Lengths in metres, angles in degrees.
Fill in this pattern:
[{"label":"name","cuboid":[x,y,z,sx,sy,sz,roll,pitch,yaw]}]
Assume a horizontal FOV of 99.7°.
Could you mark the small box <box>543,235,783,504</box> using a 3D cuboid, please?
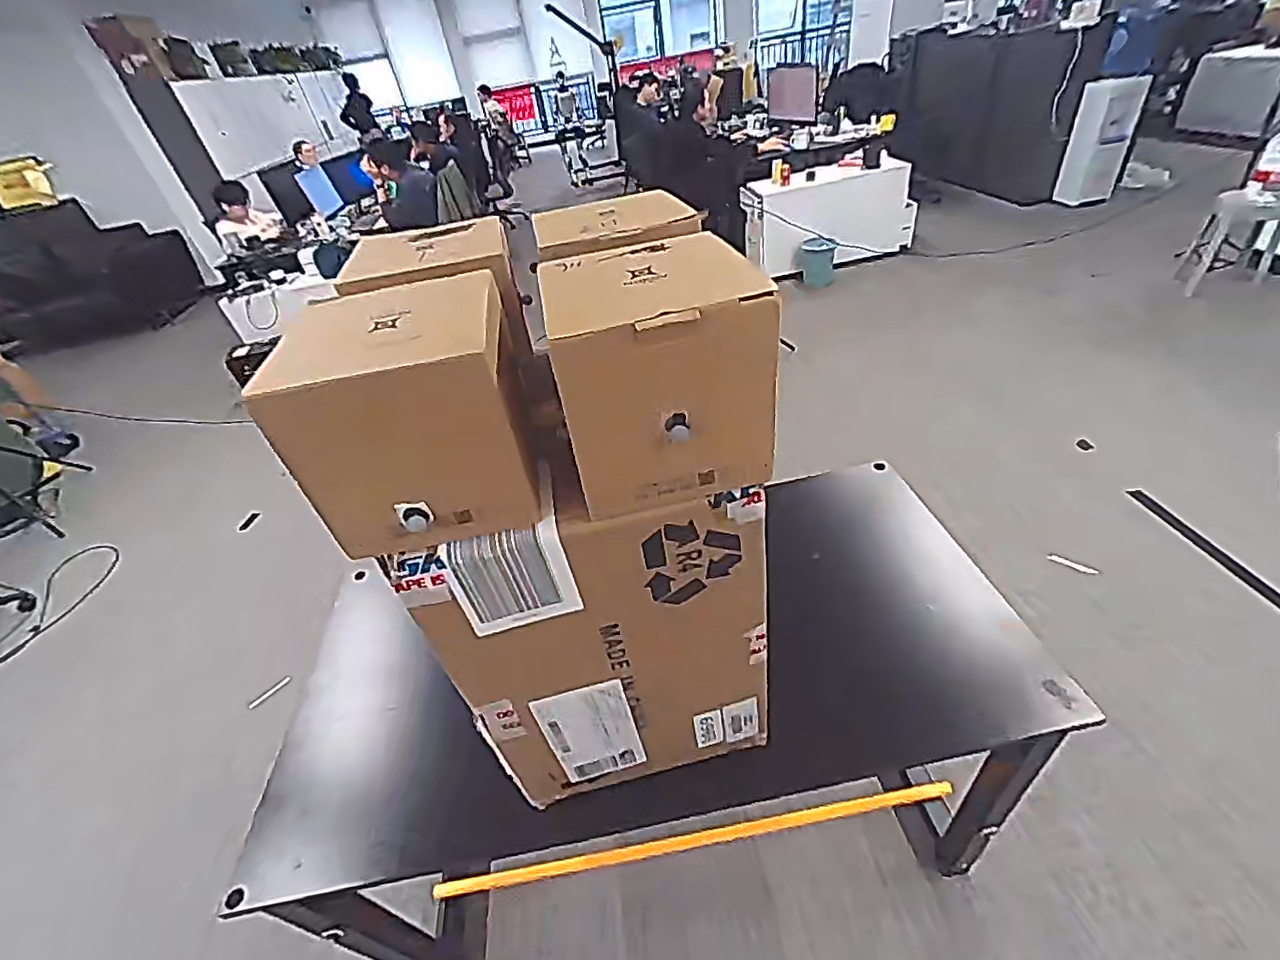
[{"label":"small box","cuboid":[0.015,-0.095,0.479,0.168,0.176,0.179,-11,40,-5]}]
